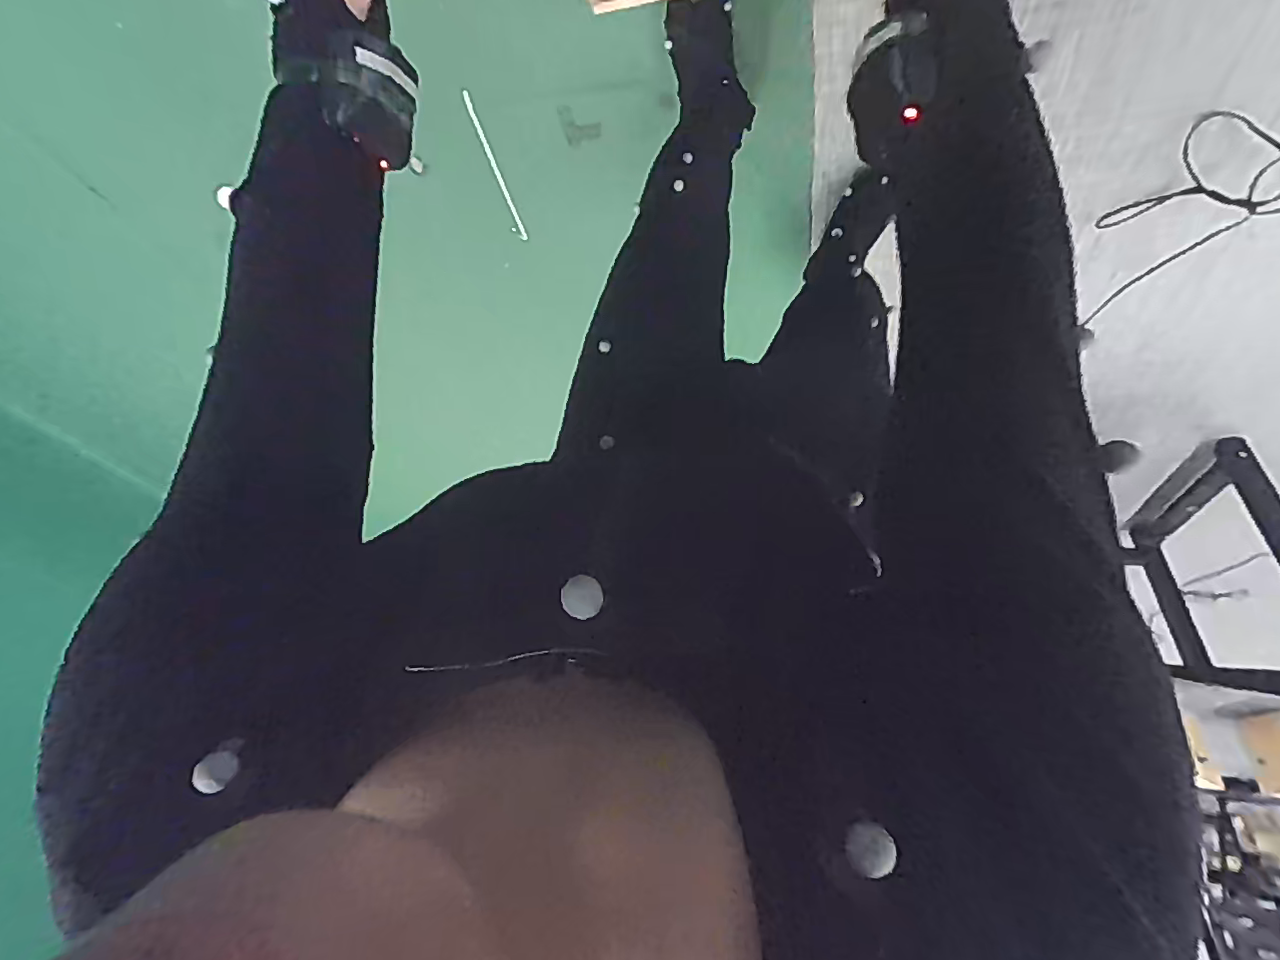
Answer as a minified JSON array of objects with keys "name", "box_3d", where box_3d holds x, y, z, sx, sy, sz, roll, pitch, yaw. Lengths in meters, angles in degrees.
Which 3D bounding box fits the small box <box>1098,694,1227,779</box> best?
[{"name":"small box","box_3d":[1.295,0.638,1.351,0.179,0.176,0.168,26,145,-26]}]
